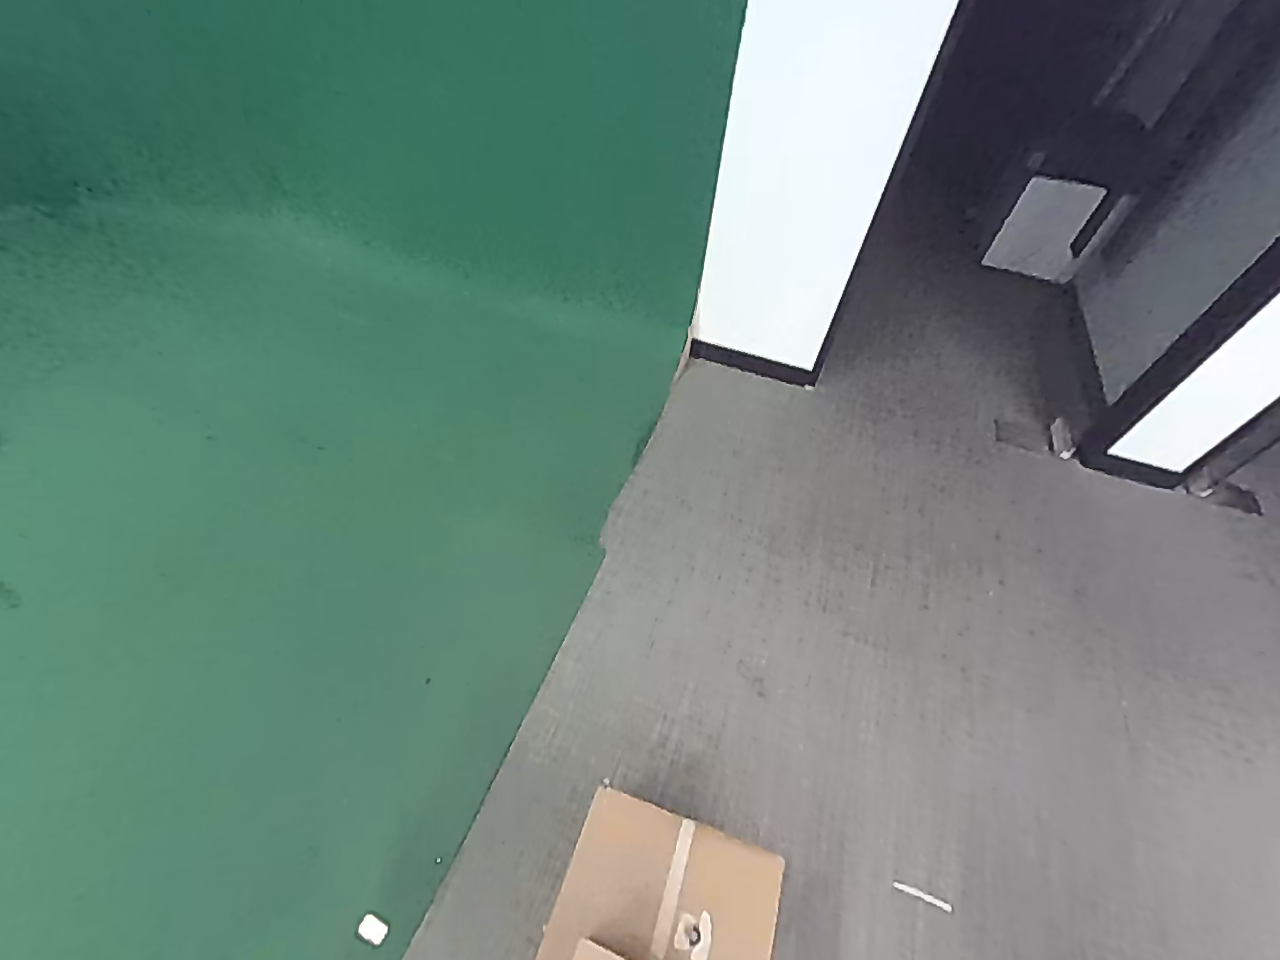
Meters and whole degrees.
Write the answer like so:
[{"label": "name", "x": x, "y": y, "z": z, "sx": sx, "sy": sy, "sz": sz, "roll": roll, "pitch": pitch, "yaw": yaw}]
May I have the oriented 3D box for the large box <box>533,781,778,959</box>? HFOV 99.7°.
[{"label": "large box", "x": 0.002, "y": 0.777, "z": 0.858, "sx": 0.320, "sy": 0.320, "sz": 0.408, "roll": 17, "pitch": 51, "yaw": 9}]
